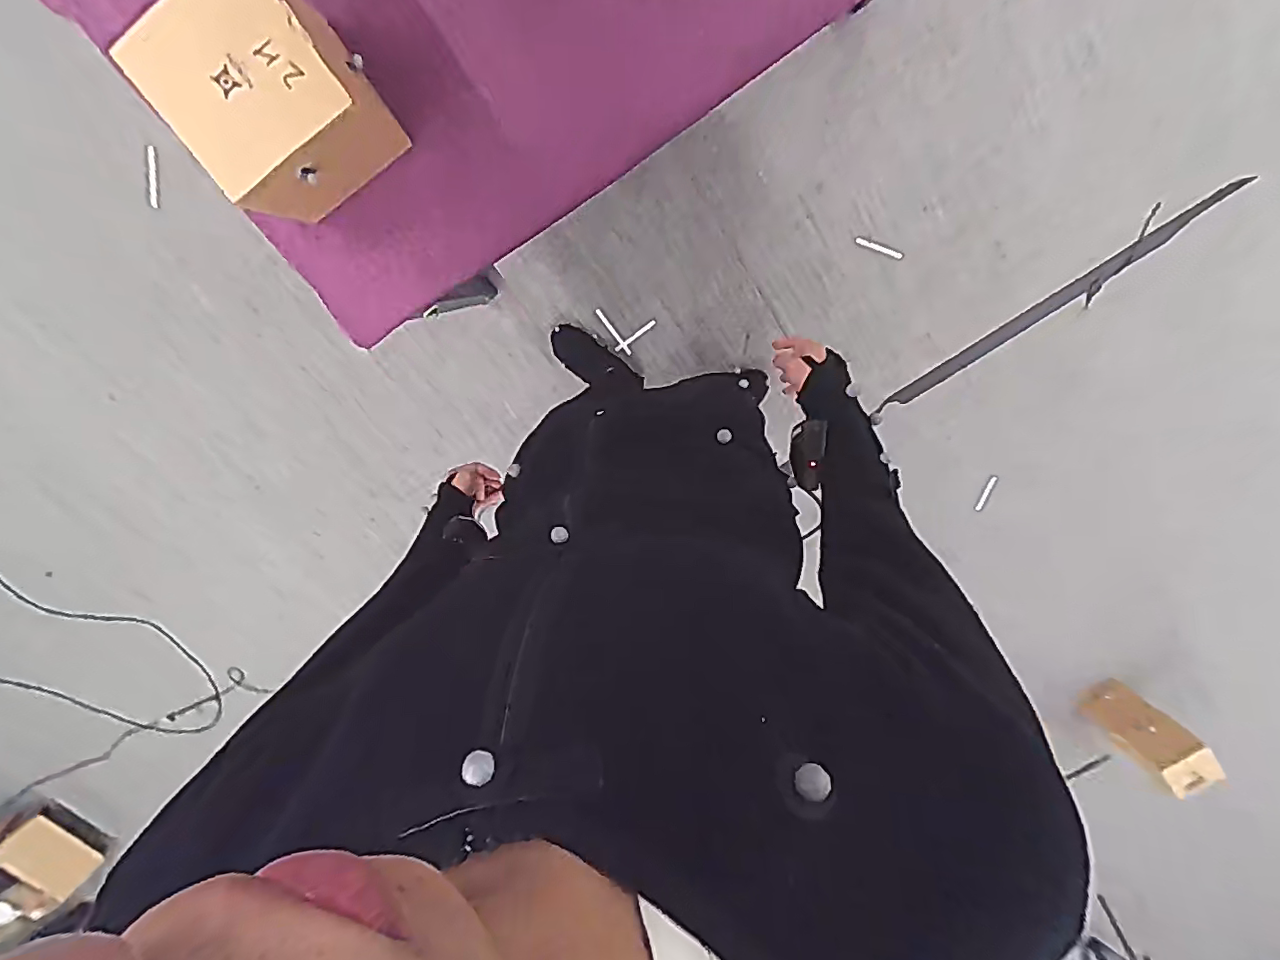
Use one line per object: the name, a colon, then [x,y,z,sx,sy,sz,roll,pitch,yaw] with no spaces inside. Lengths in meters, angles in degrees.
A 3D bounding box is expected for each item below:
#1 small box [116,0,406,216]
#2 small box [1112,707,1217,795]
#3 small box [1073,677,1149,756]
small box: [-0.410,-0.433,0.622,0.179,0.176,0.168,-32,107,8]
small box: [1.783,0.920,1.847,0.168,0.176,0.179,-39,107,10]
small box: [1.772,0.872,2.002,0.168,0.176,0.179,-40,107,11]
